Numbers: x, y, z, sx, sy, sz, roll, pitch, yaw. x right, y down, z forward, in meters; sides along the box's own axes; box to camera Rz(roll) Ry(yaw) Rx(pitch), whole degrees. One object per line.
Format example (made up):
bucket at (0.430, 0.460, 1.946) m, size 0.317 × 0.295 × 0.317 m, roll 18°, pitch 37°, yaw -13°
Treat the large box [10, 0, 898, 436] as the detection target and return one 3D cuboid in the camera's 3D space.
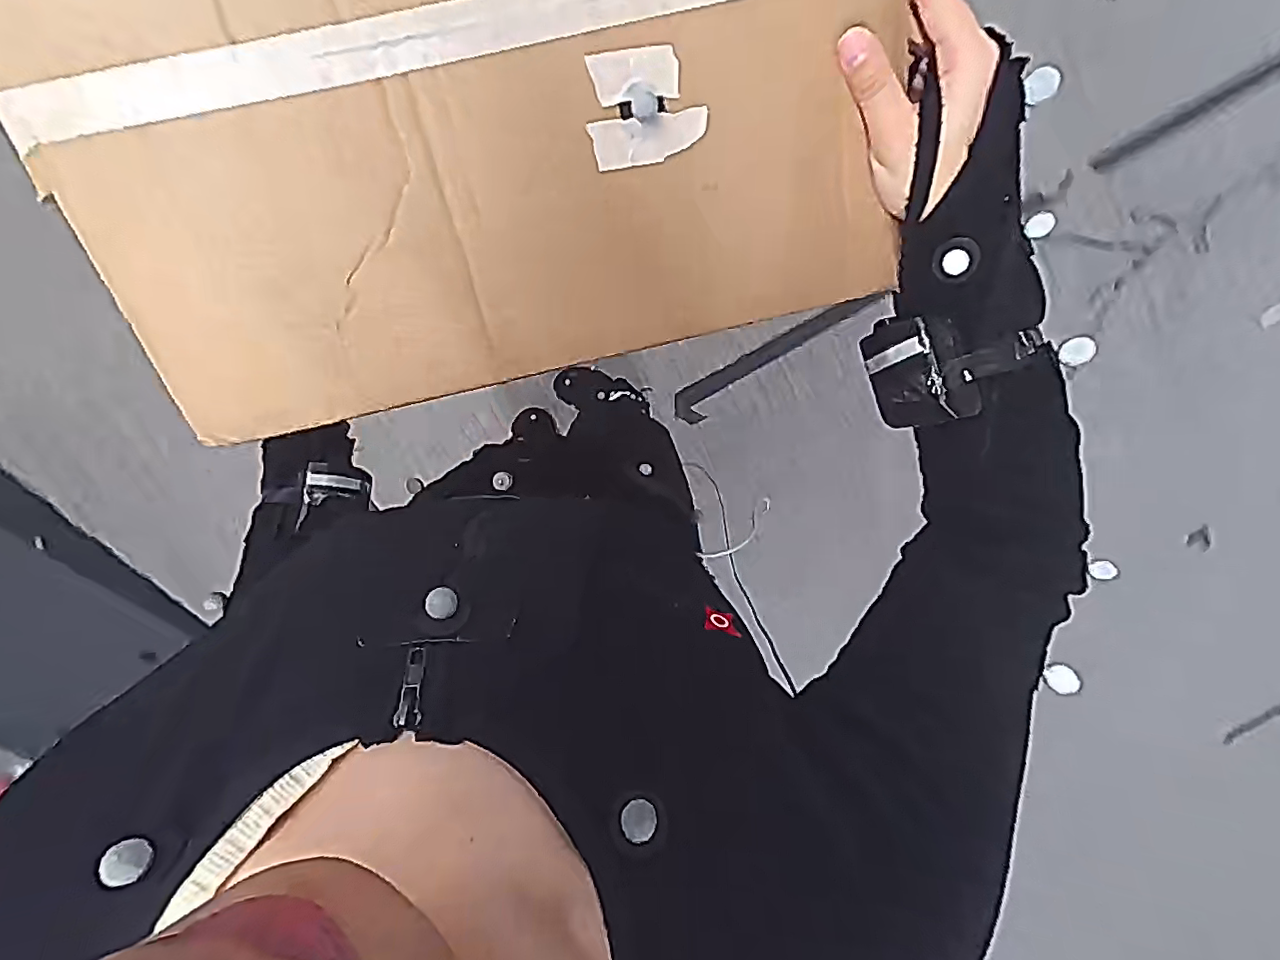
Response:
large box at (-0.089, -0.261, 0.395) m, size 0.408 × 0.320 × 0.320 m, roll -14°, pitch 114°, yaw -4°
